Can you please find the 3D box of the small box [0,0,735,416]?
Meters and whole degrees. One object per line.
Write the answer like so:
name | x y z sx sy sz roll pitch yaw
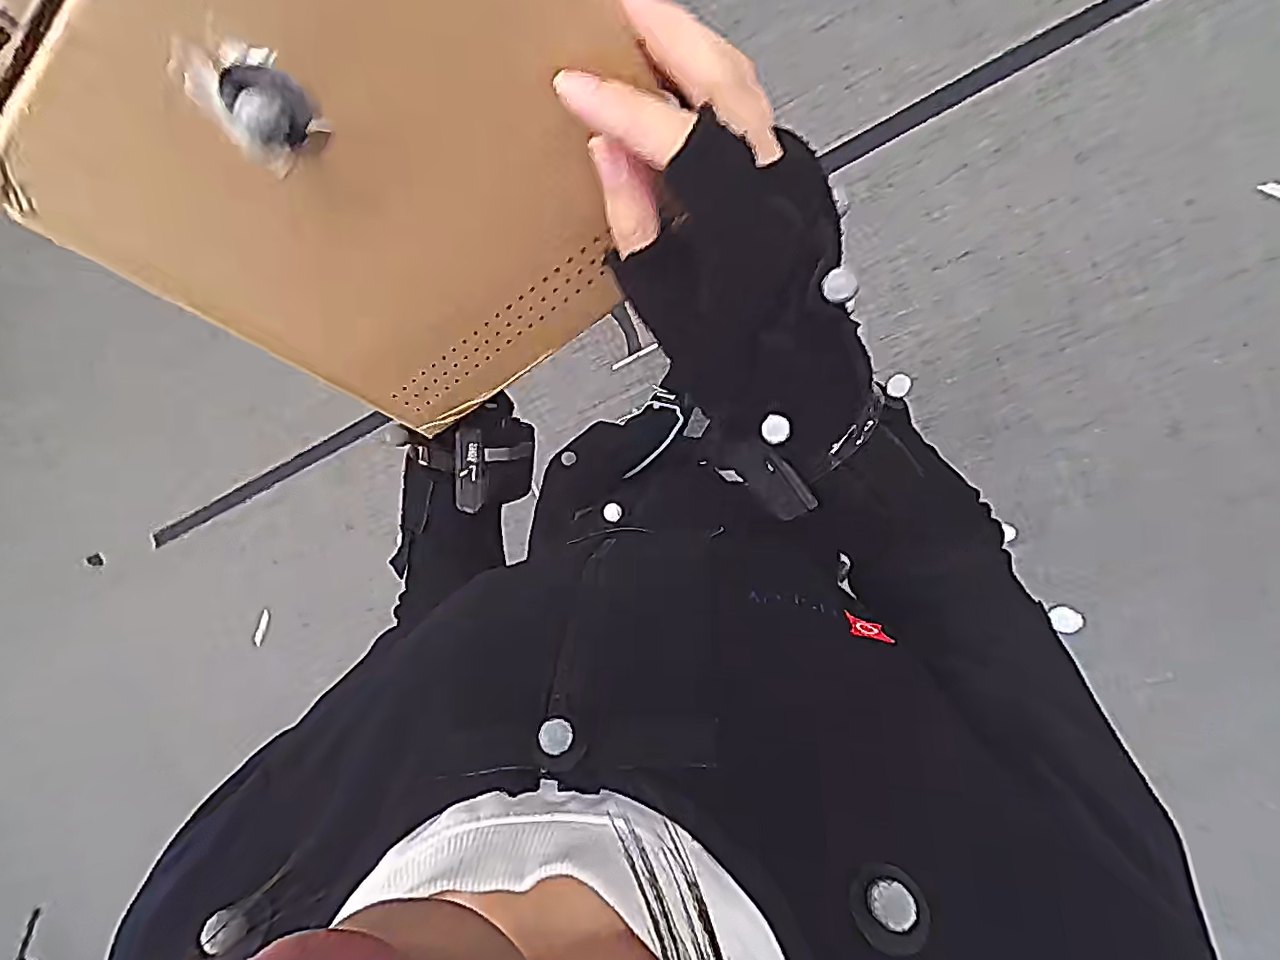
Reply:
small box | -0.088 -0.157 0.228 0.179 0.176 0.168 -29 55 19
